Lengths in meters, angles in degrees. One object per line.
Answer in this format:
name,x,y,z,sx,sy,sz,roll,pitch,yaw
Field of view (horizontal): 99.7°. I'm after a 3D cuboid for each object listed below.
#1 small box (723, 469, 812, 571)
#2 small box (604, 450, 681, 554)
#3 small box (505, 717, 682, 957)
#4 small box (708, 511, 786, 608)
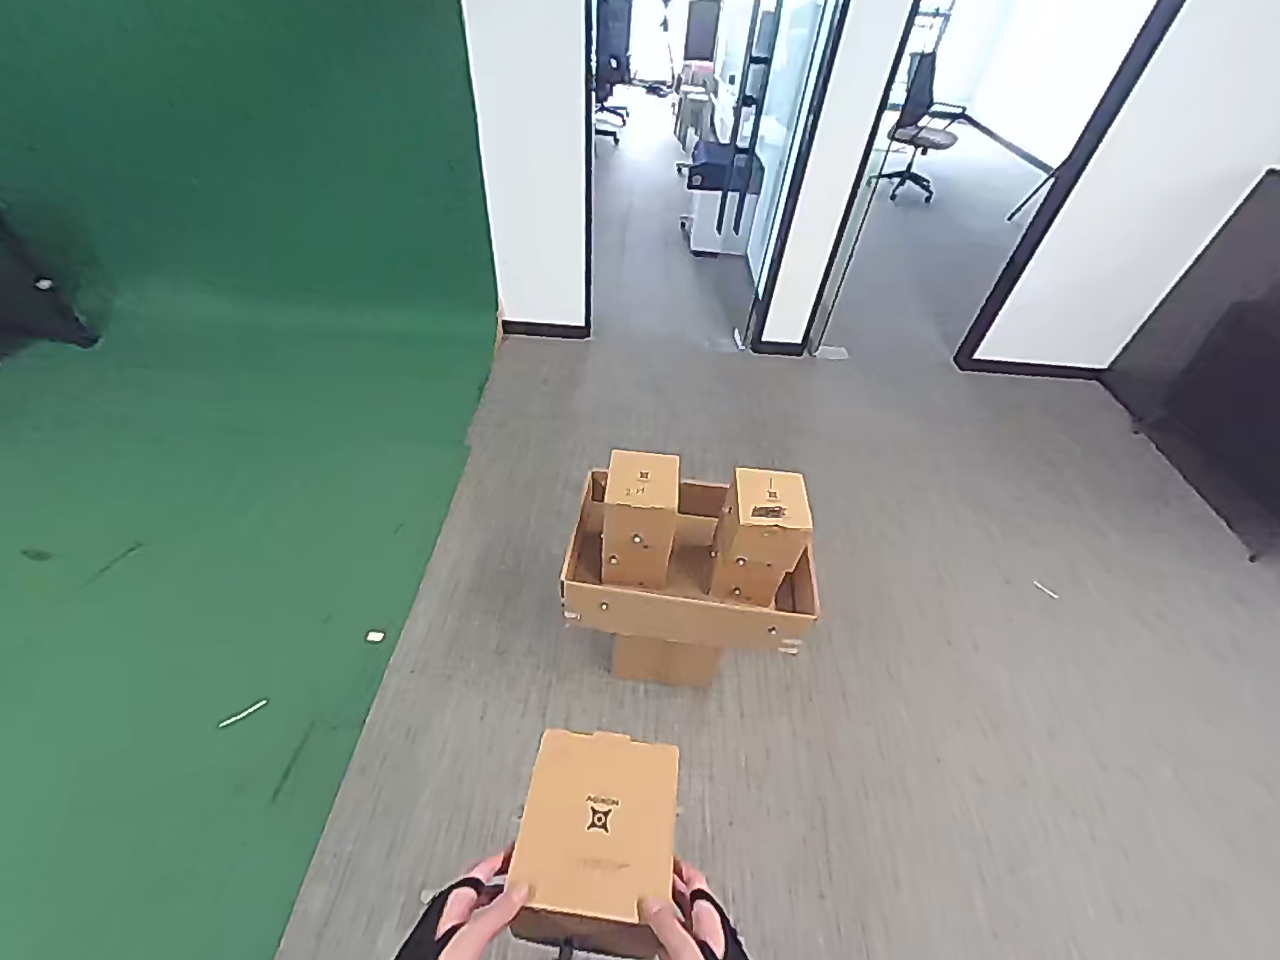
small box,0.297,0.099,1.292,0.168,0.176,0.179,6,46,-1
small box,0.004,0.053,1.301,0.168,0.176,0.179,6,46,0
small box,-0.048,0.411,0.629,0.168,0.176,0.179,8,39,3
small box,0.276,0.207,1.415,0.168,0.176,0.179,10,46,2
